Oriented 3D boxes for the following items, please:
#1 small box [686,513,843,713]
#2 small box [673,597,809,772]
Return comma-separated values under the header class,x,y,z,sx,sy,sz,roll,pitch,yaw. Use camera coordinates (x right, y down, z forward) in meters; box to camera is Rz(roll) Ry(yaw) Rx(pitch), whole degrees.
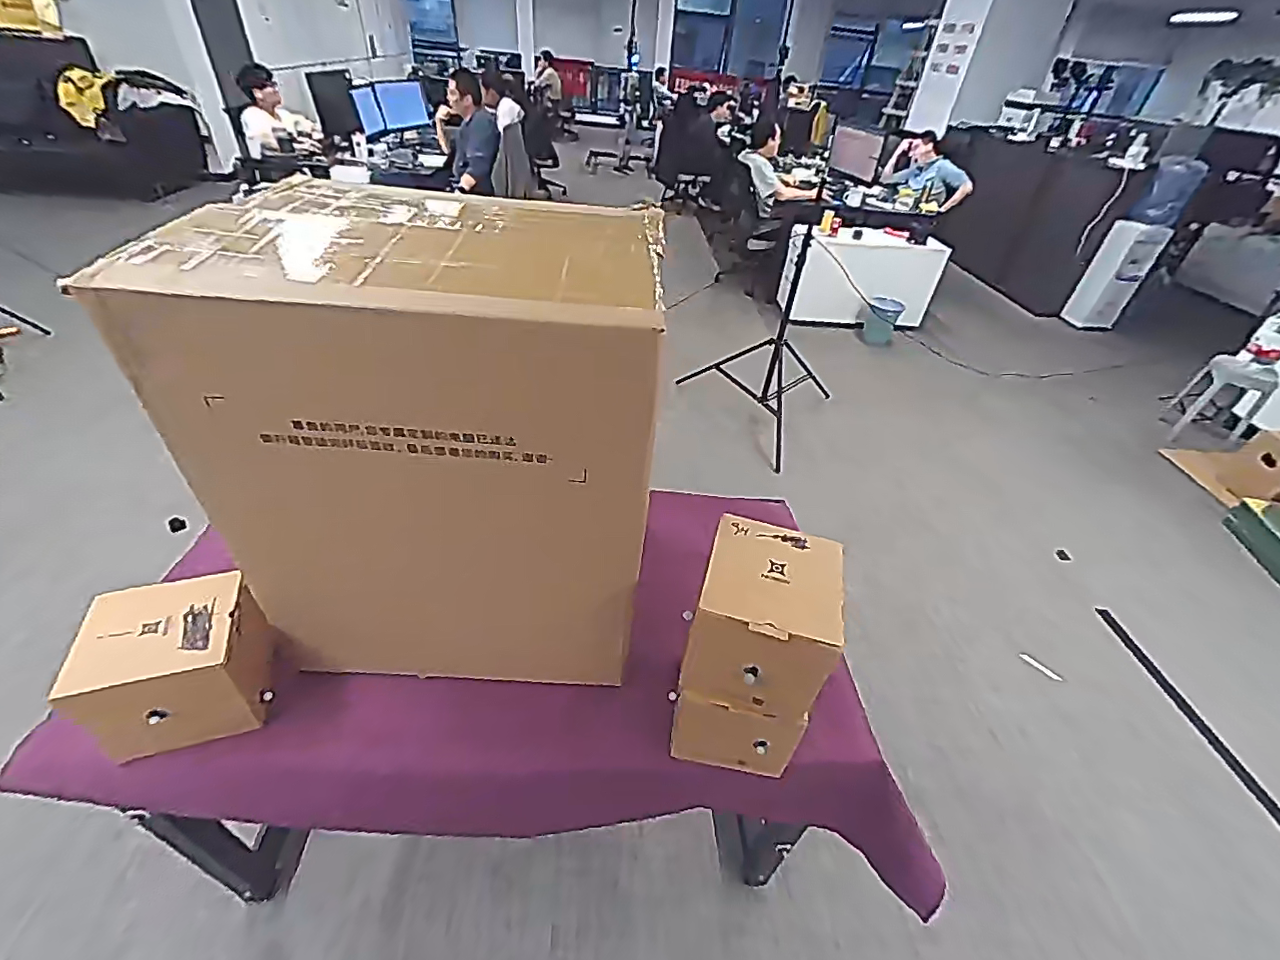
class,x,y,z,sx,sy,sz,roll,pitch,yaw
small box,0.162,0.177,0.721,0.168,0.176,0.179,14,40,10
small box,0.146,0.309,0.817,0.168,0.176,0.179,10,37,4
